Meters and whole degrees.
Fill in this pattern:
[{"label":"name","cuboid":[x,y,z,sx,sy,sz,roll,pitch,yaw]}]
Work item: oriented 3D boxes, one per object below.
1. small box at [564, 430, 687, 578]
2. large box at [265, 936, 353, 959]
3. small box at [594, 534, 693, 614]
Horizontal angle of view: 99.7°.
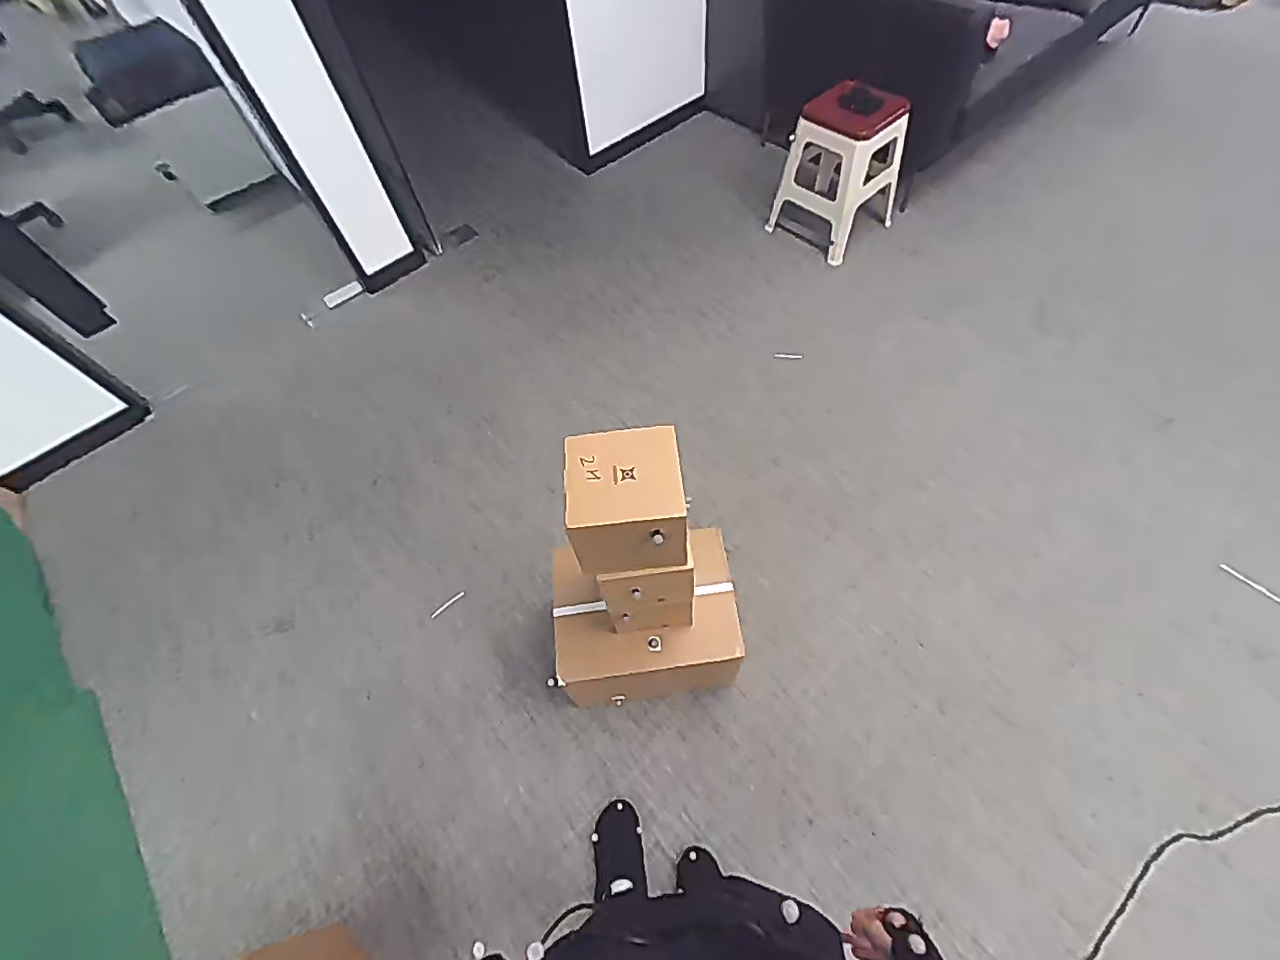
[{"label":"small box","cuboid":[-0.021,0.043,0.863,0.179,0.176,0.168,-6,55,1]},{"label":"large box","cuboid":[-0.666,1.120,0.919,0.320,0.320,0.408,28,66,22]},{"label":"small box","cuboid":[0.004,0.136,0.998,0.168,0.176,0.179,-8,56,0]}]
